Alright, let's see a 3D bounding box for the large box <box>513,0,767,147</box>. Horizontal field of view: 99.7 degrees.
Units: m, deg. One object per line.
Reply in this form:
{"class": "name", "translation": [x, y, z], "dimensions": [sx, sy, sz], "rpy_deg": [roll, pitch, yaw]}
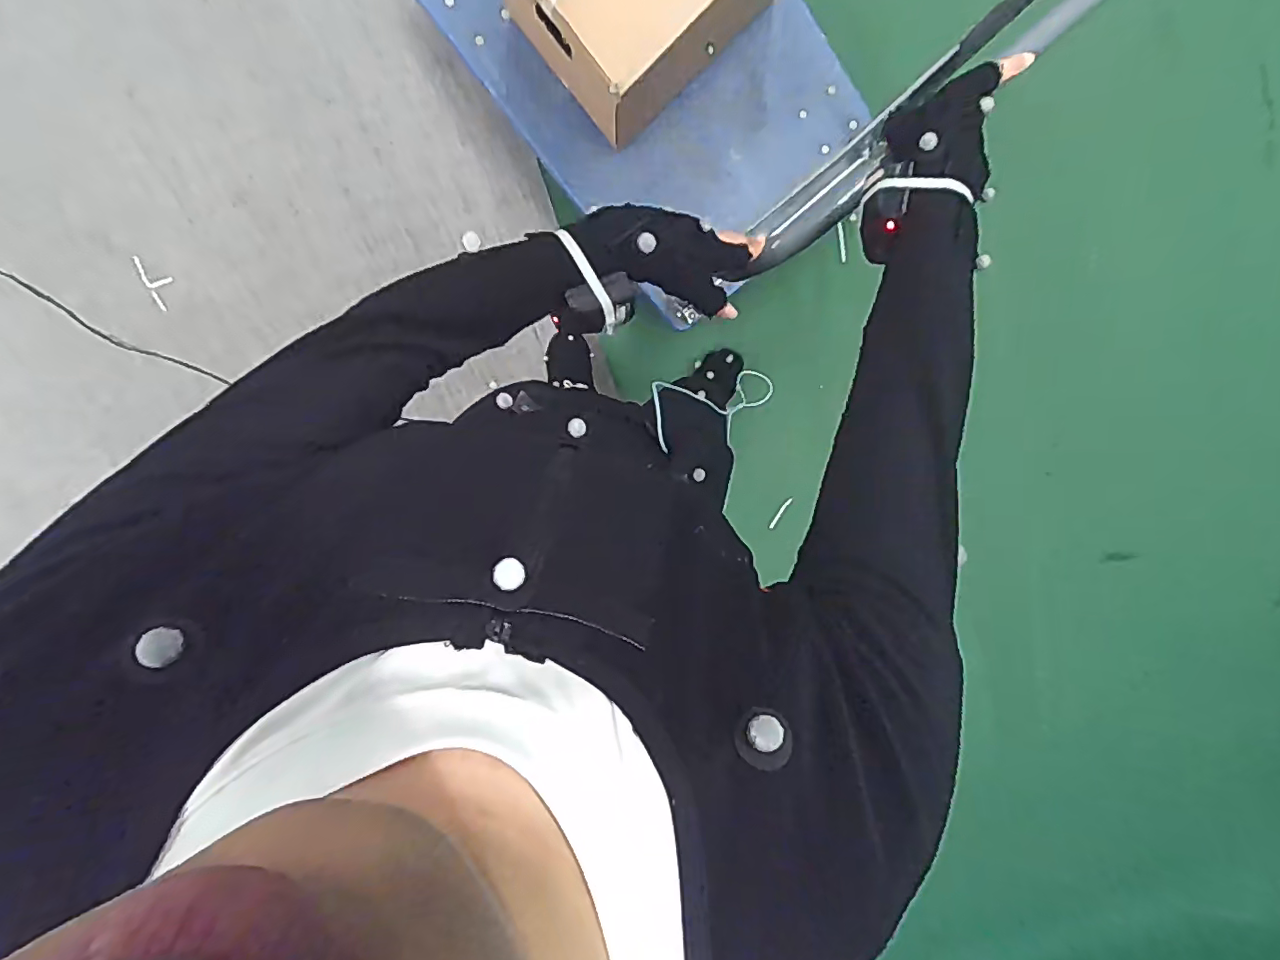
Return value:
{"class": "large box", "translation": [0.019, -0.865, 0.896], "dimensions": [0.408, 0.320, 0.320], "rpy_deg": [-41, 104, 10]}
